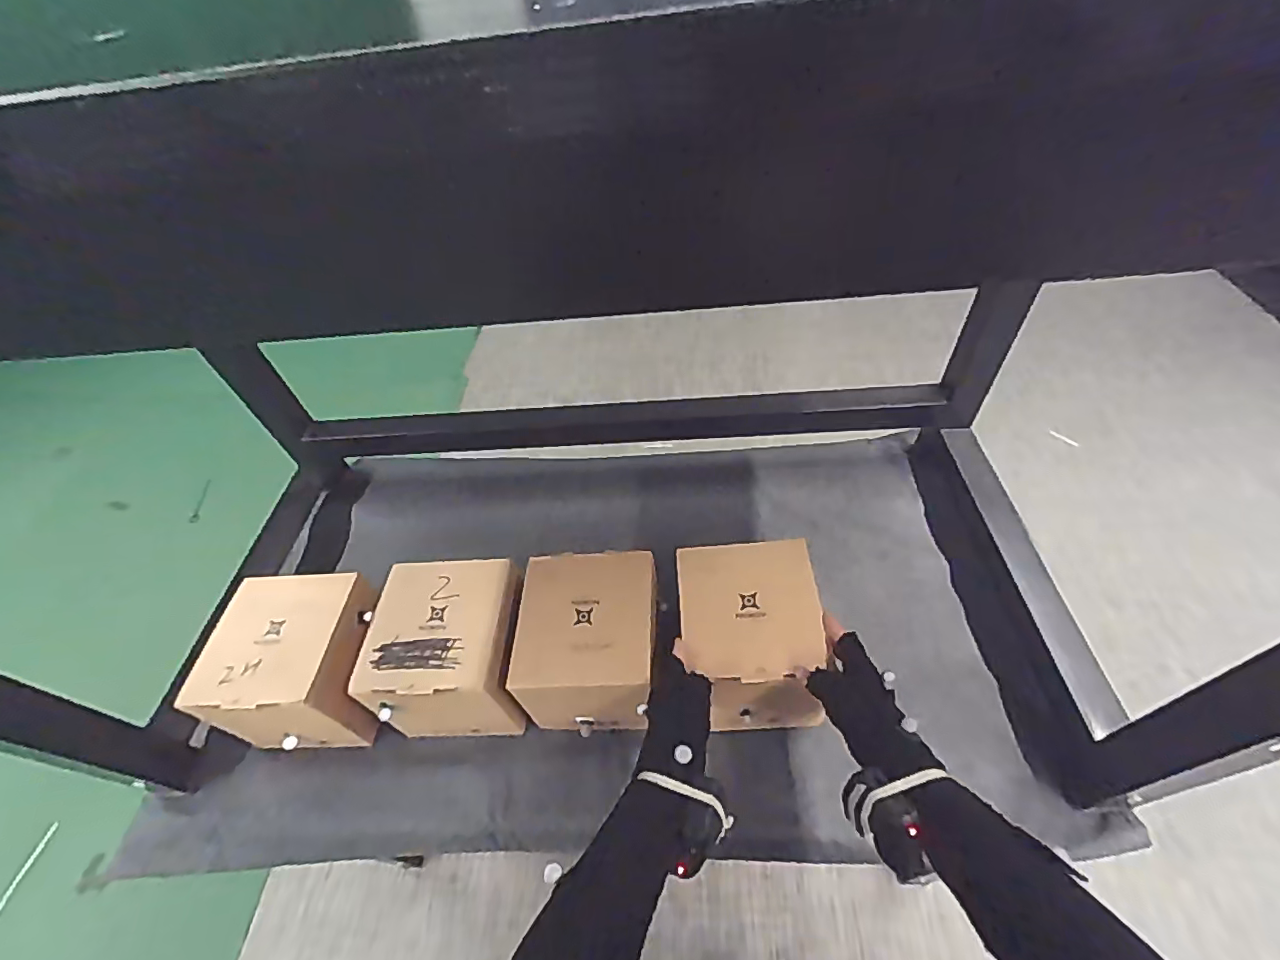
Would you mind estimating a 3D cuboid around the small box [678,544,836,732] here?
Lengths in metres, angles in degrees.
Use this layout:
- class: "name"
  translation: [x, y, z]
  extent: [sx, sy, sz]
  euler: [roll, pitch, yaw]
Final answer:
- class: "small box"
  translation: [0.137, 0.205, 0.695]
  extent: [0.168, 0.176, 0.179]
  euler: [-5, 48, 5]

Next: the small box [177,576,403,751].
- class: "small box"
  translation: [-0.448, 0.250, 0.734]
  extent: [0.168, 0.176, 0.179]
  euler: [-3, 48, 5]
